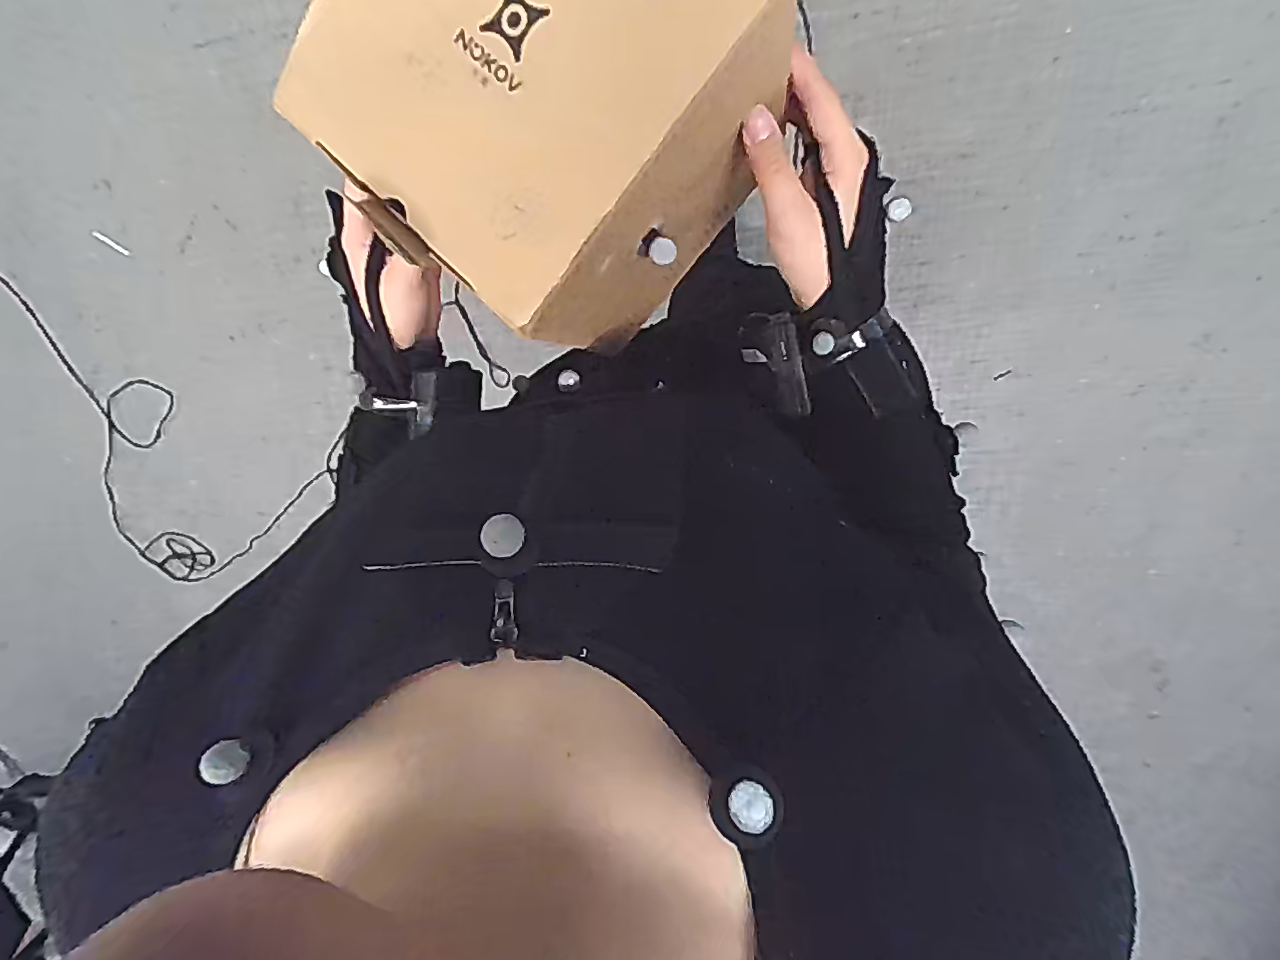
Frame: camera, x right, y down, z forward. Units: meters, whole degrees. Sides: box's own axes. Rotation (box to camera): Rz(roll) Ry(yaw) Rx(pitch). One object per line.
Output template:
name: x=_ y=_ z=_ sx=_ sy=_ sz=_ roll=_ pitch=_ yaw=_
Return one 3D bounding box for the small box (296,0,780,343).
small box: x=-0.036 y=-0.197 z=0.310 sx=0.168 sy=0.176 sz=0.179 roll=43 pitch=106 yaw=3
